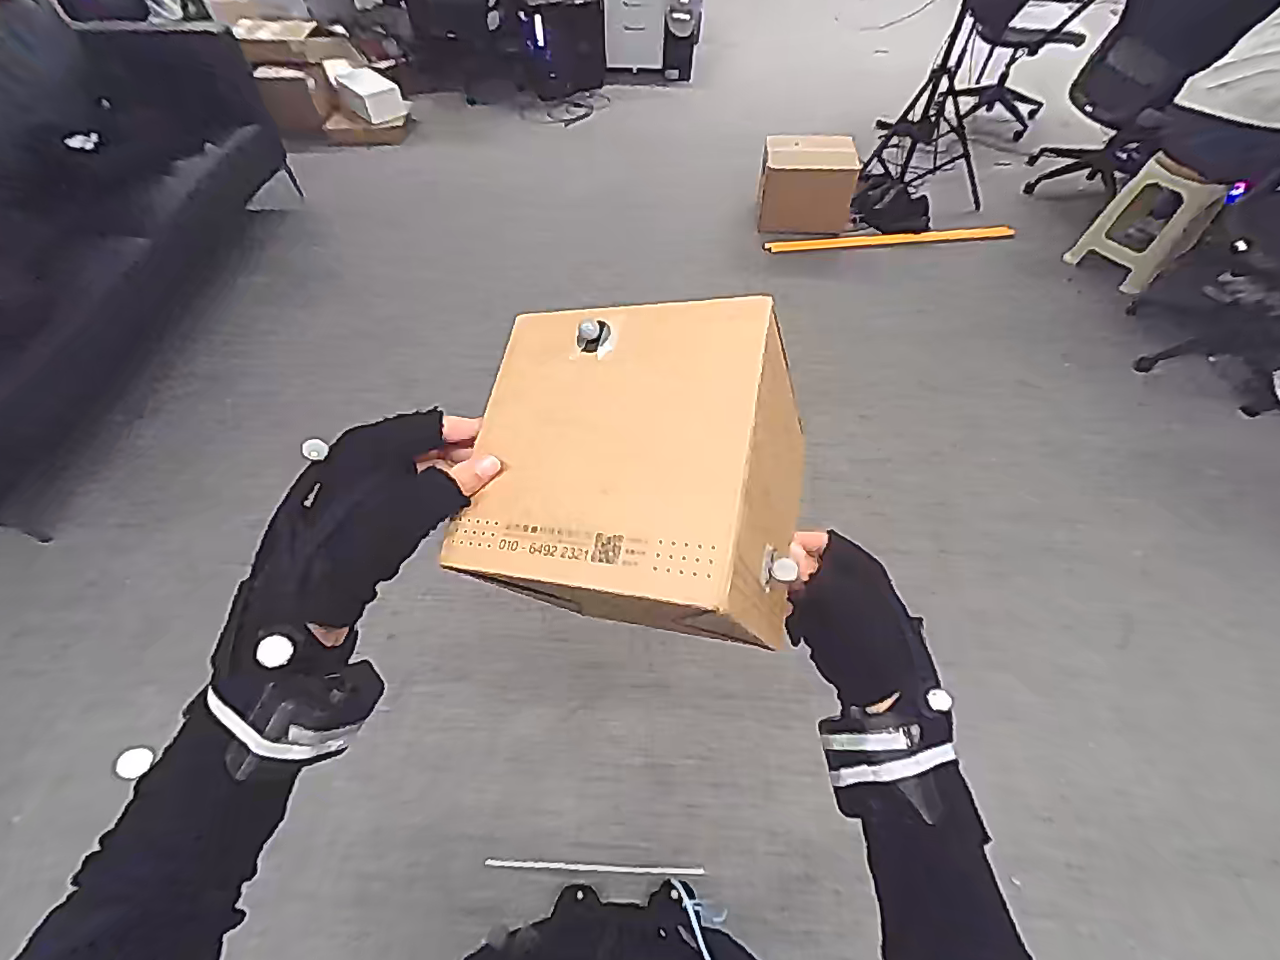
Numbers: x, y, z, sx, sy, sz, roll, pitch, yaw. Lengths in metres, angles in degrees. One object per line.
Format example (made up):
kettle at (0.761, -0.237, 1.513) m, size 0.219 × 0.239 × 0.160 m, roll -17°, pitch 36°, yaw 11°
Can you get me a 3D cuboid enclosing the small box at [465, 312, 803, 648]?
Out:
small box at (0.010, 0.013, 0.373) m, size 0.168 × 0.179 × 0.176 m, roll 2°, pitch 67°, yaw 24°
